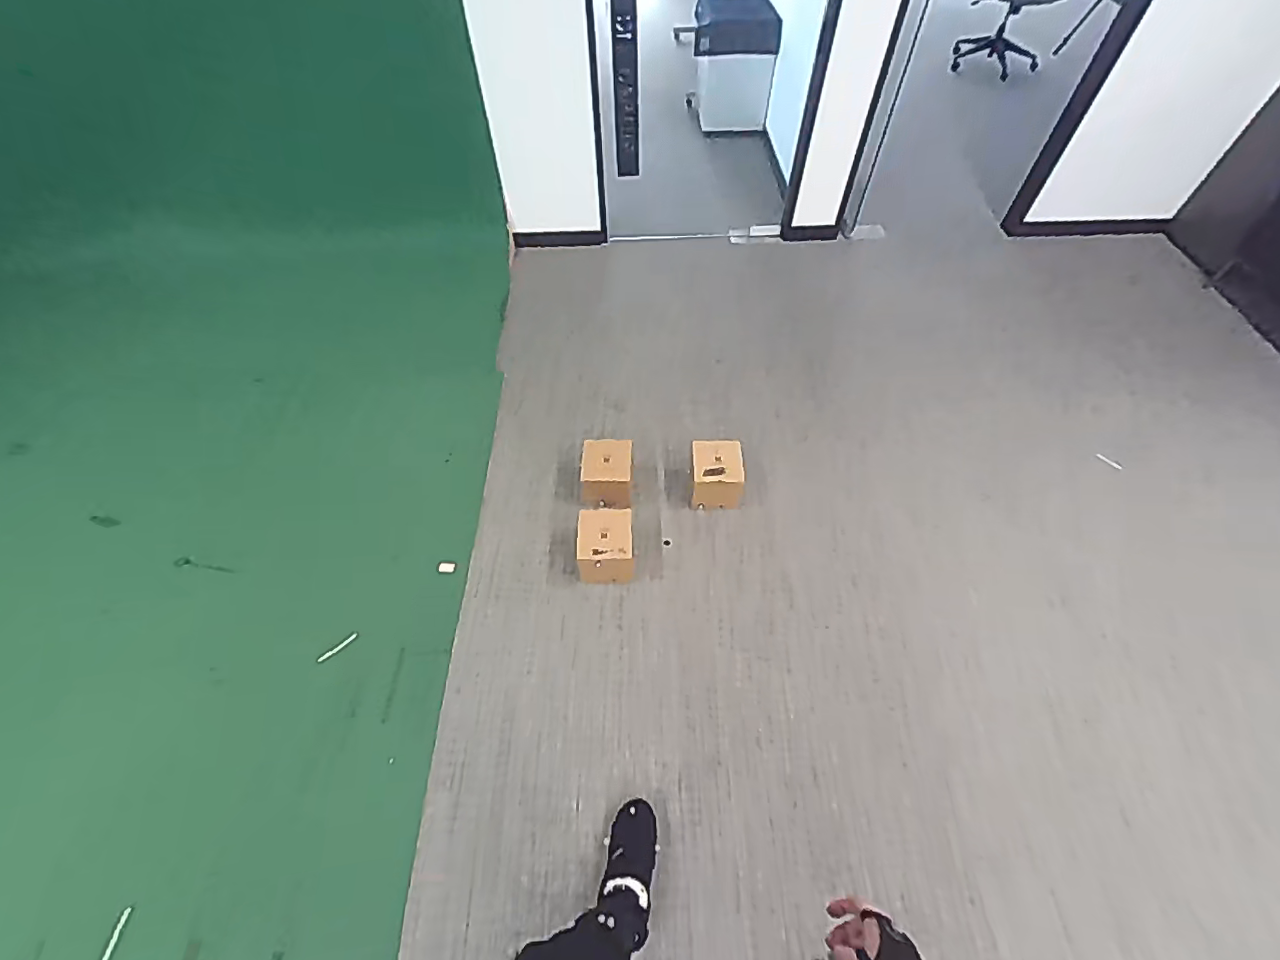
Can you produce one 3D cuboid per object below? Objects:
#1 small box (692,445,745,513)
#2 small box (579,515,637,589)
[{"bbox_3d":[0.265,0.000,1.859,0.168,0.176,0.179,0,54,1],"label":"small box"},{"bbox_3d":[-0.097,0.226,1.704,0.168,0.176,0.179,-2,53,1],"label":"small box"}]
